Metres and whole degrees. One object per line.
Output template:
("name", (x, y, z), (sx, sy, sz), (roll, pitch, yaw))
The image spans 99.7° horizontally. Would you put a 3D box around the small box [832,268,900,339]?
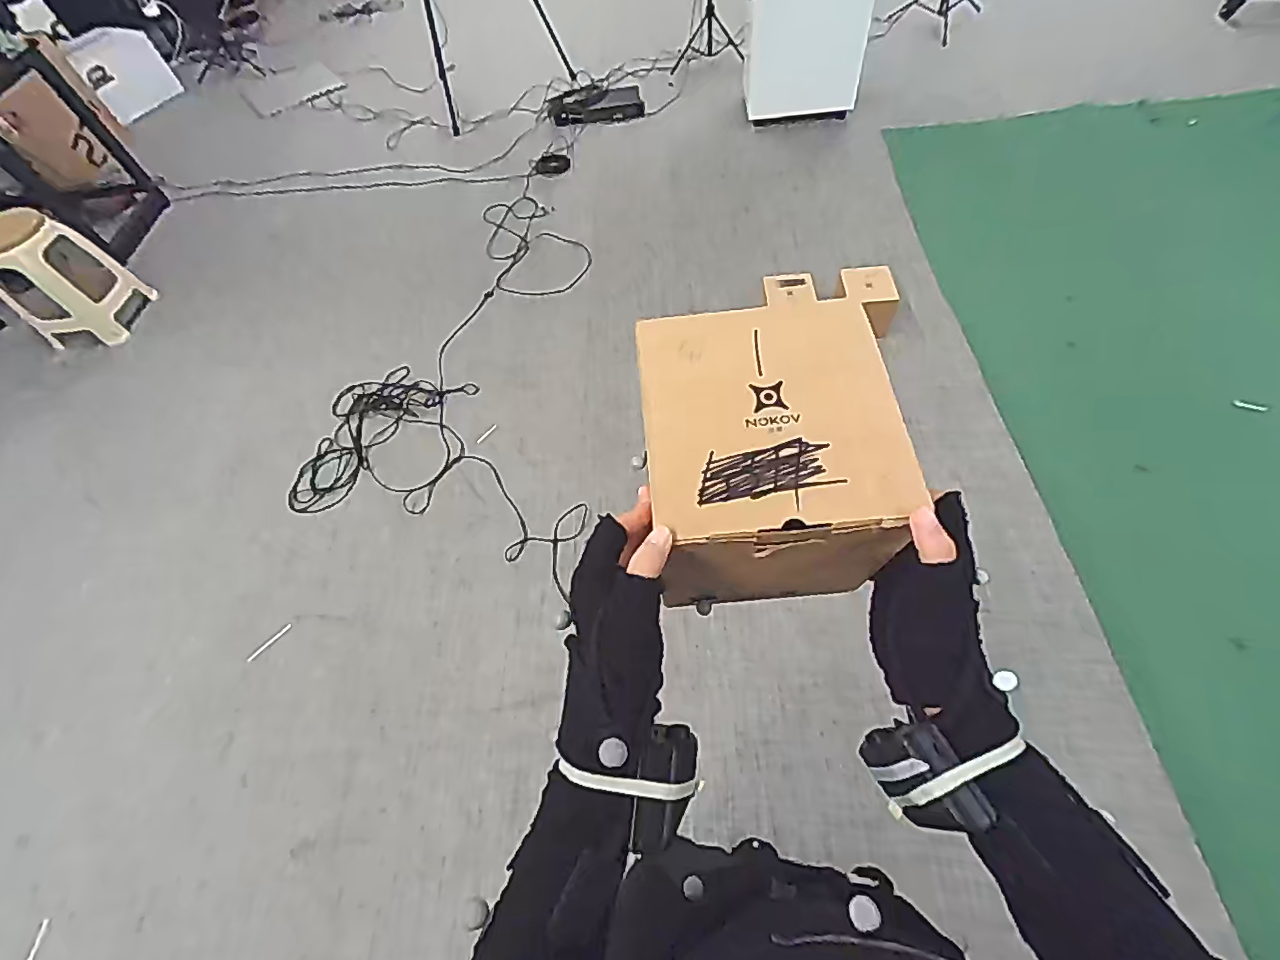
("small box", (0.785, -0.610, 1.892), (0.168, 0.176, 0.179), (-3, 58, 5))
